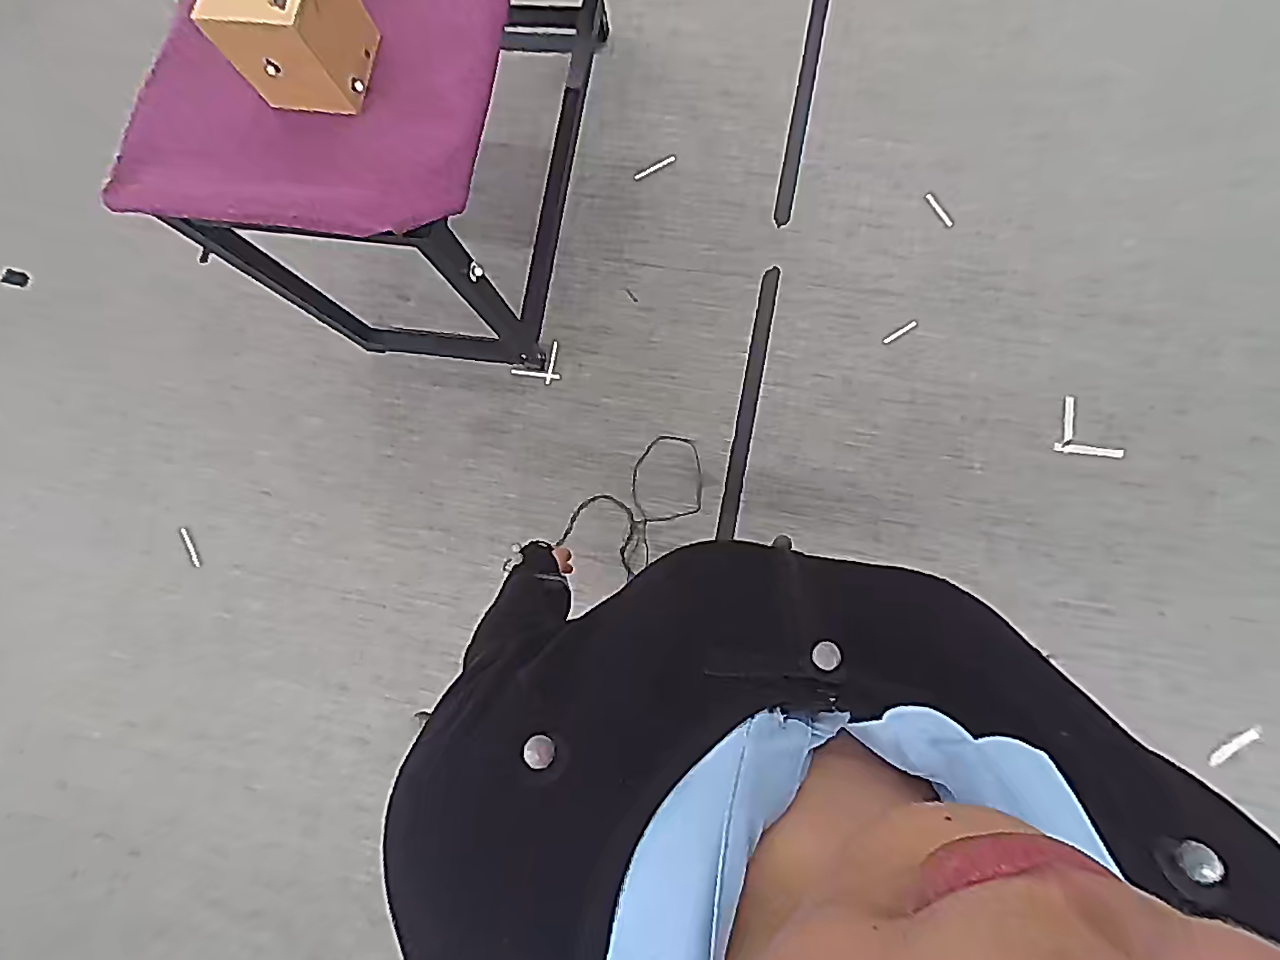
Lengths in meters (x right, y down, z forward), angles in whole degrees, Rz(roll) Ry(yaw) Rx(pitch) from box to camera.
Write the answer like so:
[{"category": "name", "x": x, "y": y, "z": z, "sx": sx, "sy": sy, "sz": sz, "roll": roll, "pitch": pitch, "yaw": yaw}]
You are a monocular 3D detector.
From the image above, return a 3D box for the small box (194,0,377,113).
[{"category": "small box", "x": -0.575, "y": -0.752, "z": 0.902, "sx": 0.179, "sy": 0.176, "sz": 0.168, "roll": 9, "pitch": 83, "yaw": 7}]
